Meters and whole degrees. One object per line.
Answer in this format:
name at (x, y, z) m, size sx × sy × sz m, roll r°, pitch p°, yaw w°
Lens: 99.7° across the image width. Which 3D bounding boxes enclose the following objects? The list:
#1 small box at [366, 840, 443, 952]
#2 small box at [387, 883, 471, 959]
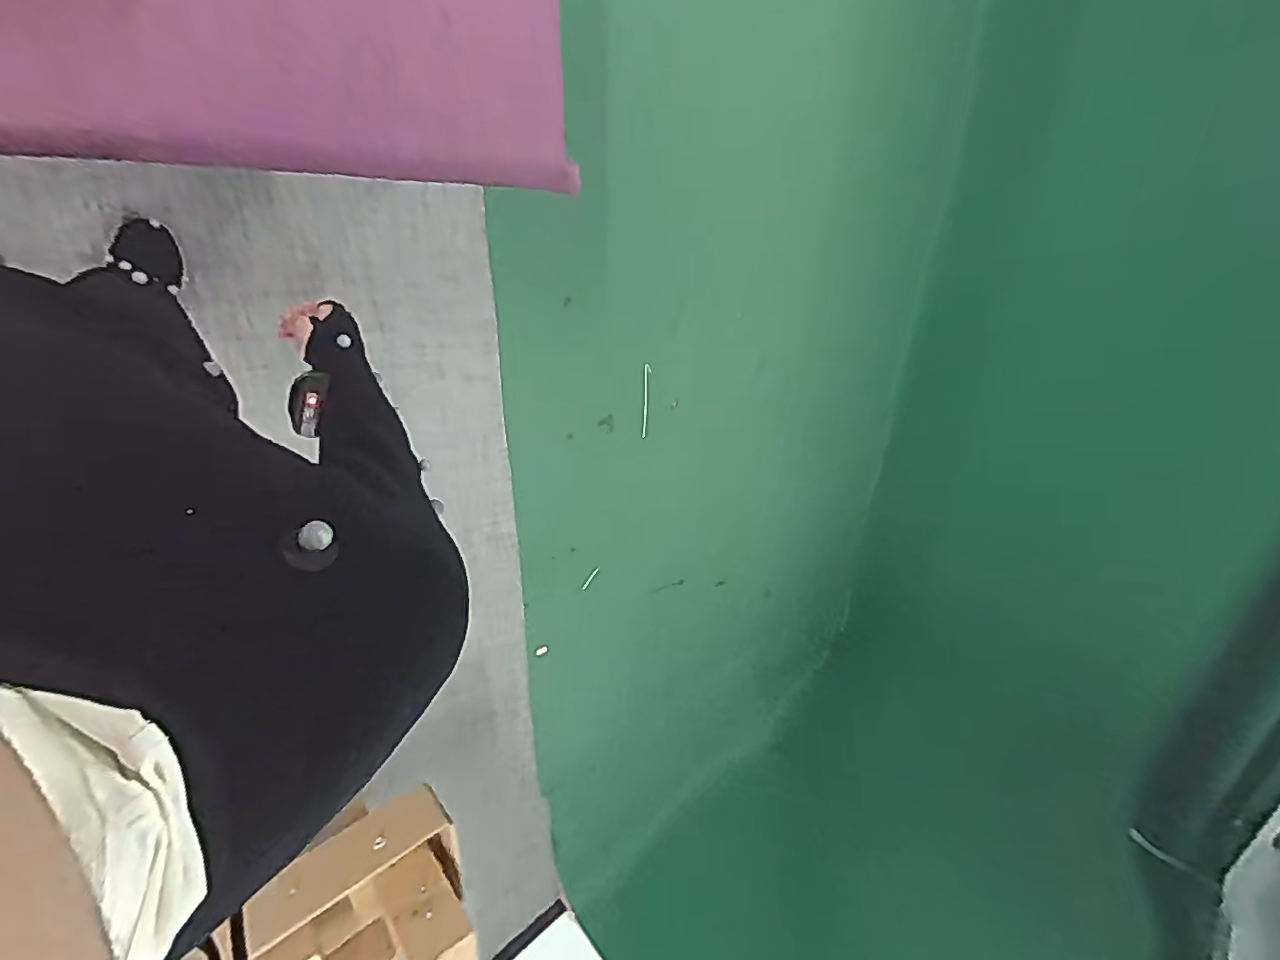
small box at (-0.697, 1.232, 1.611) m, size 0.168 × 0.176 × 0.179 m, roll -18°, pitch 121°, yaw -39°
small box at (-0.586, 1.285, 1.502) m, size 0.168 × 0.176 × 0.179 m, roll -16°, pitch 120°, yaw -41°
